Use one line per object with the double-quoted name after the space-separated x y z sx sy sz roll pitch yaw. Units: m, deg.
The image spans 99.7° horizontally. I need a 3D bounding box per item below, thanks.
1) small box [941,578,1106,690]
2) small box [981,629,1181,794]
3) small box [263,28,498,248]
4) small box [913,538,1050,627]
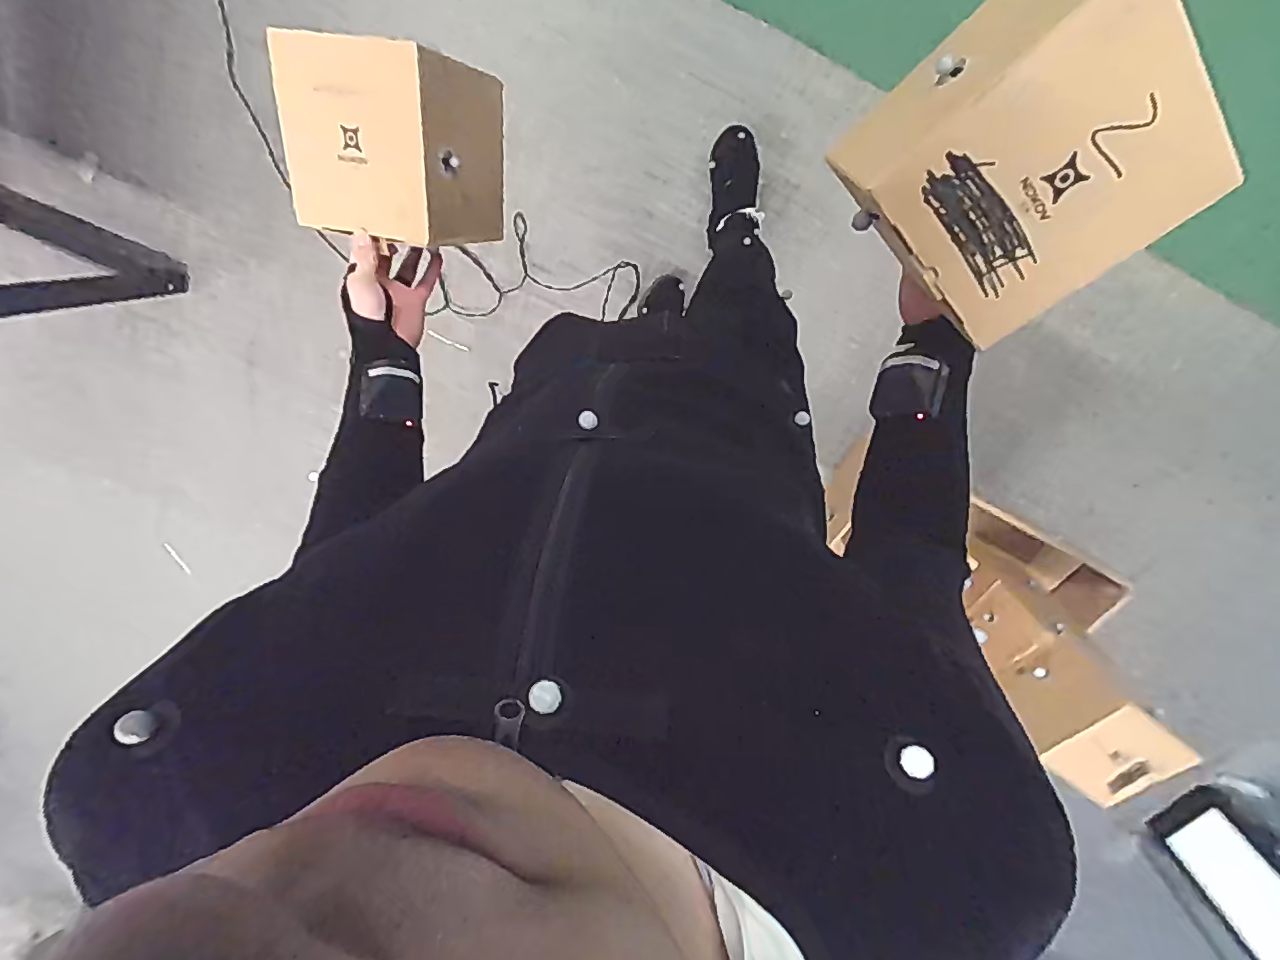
0.760 0.329 1.094 0.179 0.176 0.168 26 115 -7 "small box"
0.753 0.396 0.944 0.179 0.176 0.168 35 113 -10 "small box"
-0.272 -0.374 0.612 0.168 0.176 0.179 13 119 9 "small box"
0.775 0.262 1.241 0.179 0.176 0.168 27 114 -7 "small box"
